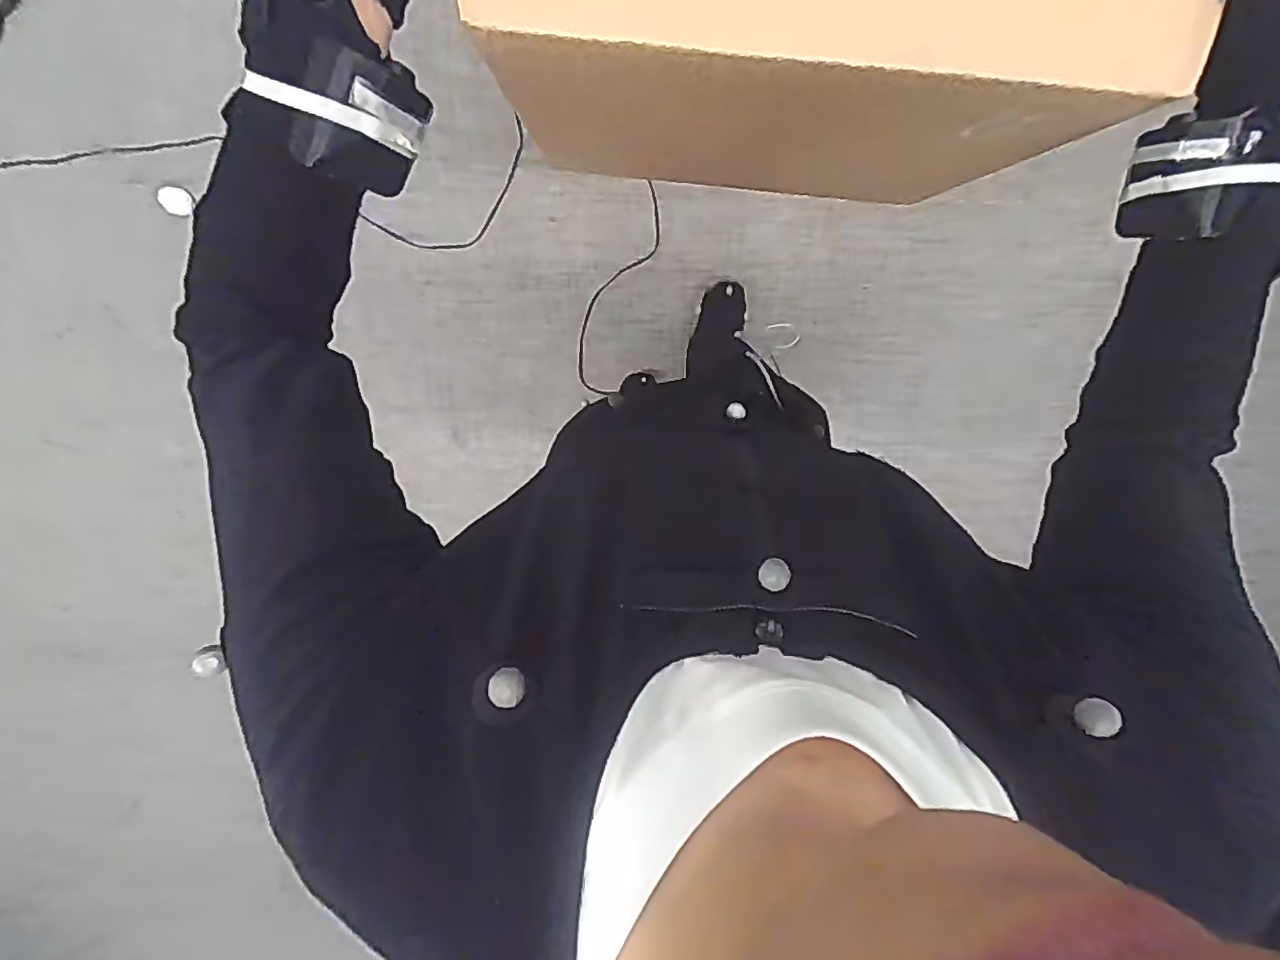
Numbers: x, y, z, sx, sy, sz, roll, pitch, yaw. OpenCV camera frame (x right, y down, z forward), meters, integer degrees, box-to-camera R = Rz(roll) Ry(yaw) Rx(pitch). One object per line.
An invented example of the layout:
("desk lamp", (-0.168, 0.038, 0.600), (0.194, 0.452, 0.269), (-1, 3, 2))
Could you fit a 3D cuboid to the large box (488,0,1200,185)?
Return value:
("large box", (0.117, -0.433, 0.401), (0.408, 0.320, 0.320), (3, 108, -3))
